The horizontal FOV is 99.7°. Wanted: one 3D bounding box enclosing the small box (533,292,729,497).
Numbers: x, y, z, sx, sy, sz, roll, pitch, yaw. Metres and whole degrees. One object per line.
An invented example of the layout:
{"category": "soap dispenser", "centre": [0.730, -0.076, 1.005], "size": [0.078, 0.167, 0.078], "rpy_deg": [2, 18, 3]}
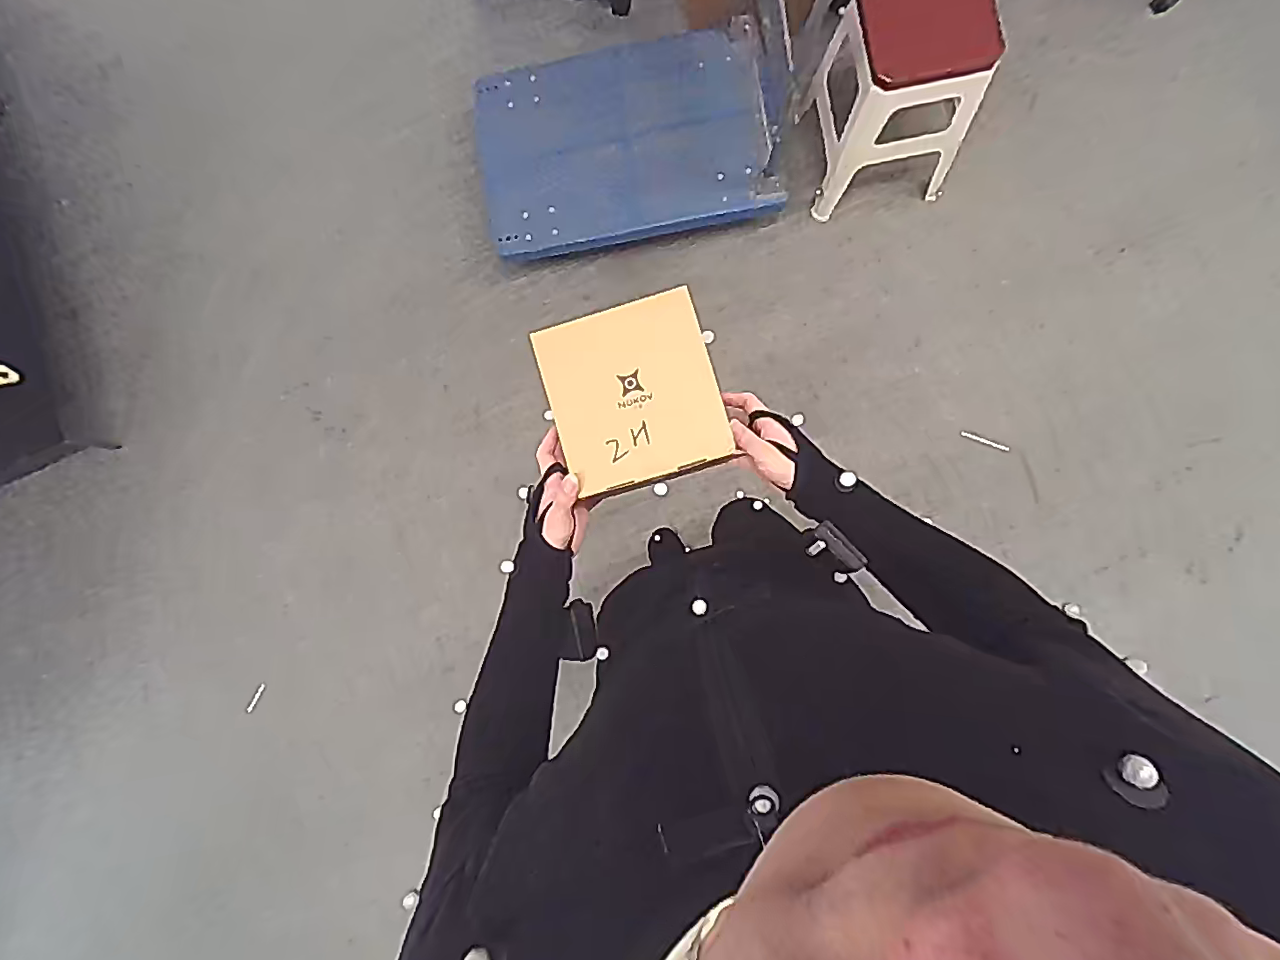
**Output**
{"category": "small box", "centre": [-0.007, -0.083, 0.622], "size": [0.168, 0.176, 0.179], "rpy_deg": [-16, 87, 3]}
